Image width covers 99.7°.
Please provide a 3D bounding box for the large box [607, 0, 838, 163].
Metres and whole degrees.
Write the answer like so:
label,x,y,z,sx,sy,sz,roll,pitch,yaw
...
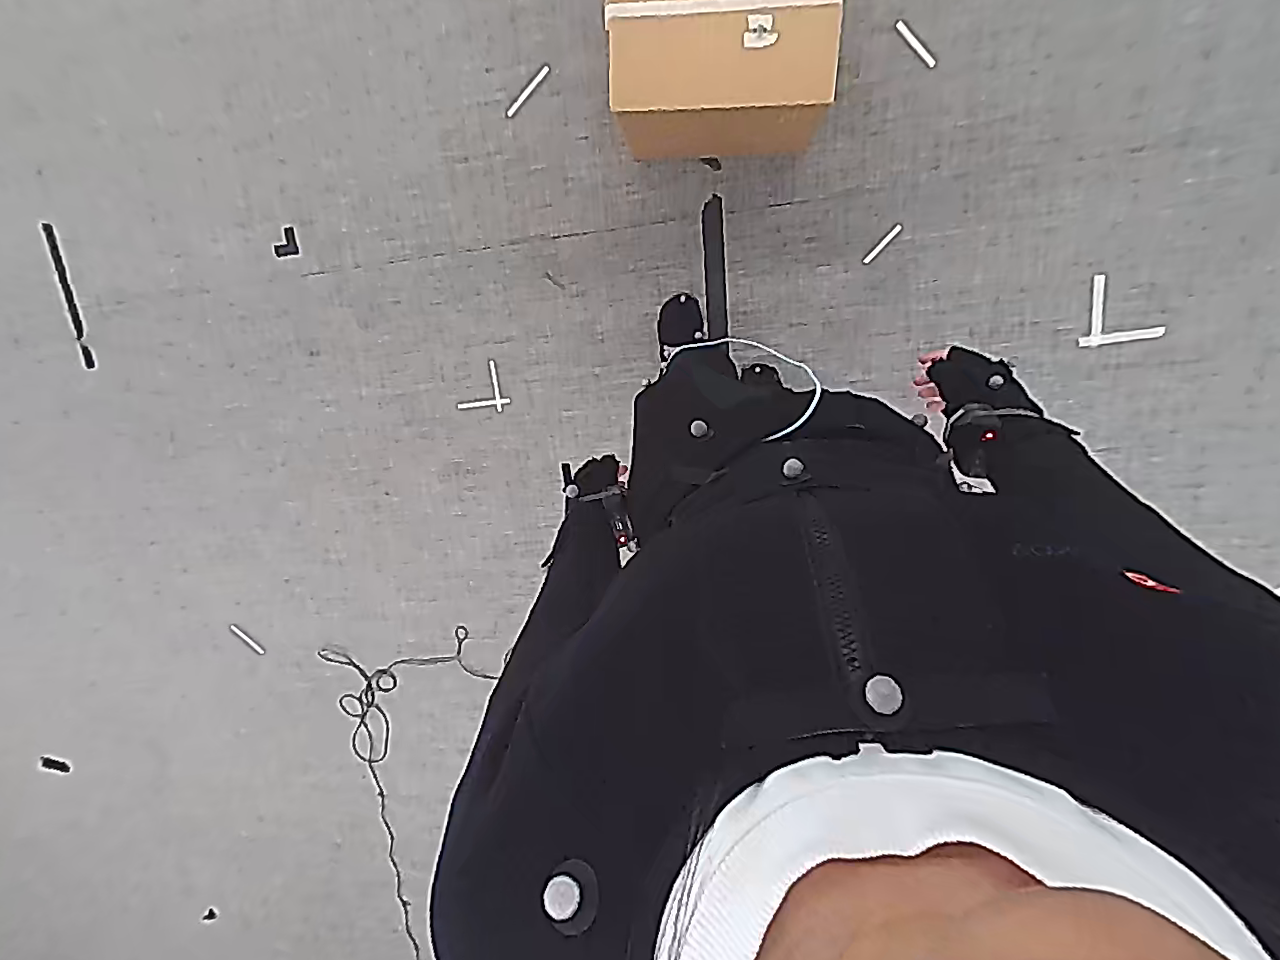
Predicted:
label,x,y,z,sx,sy,sz,roll,pitch,yaw
large box,0.153,-0.856,1.081,0.408,0.320,0.320,2,106,6
